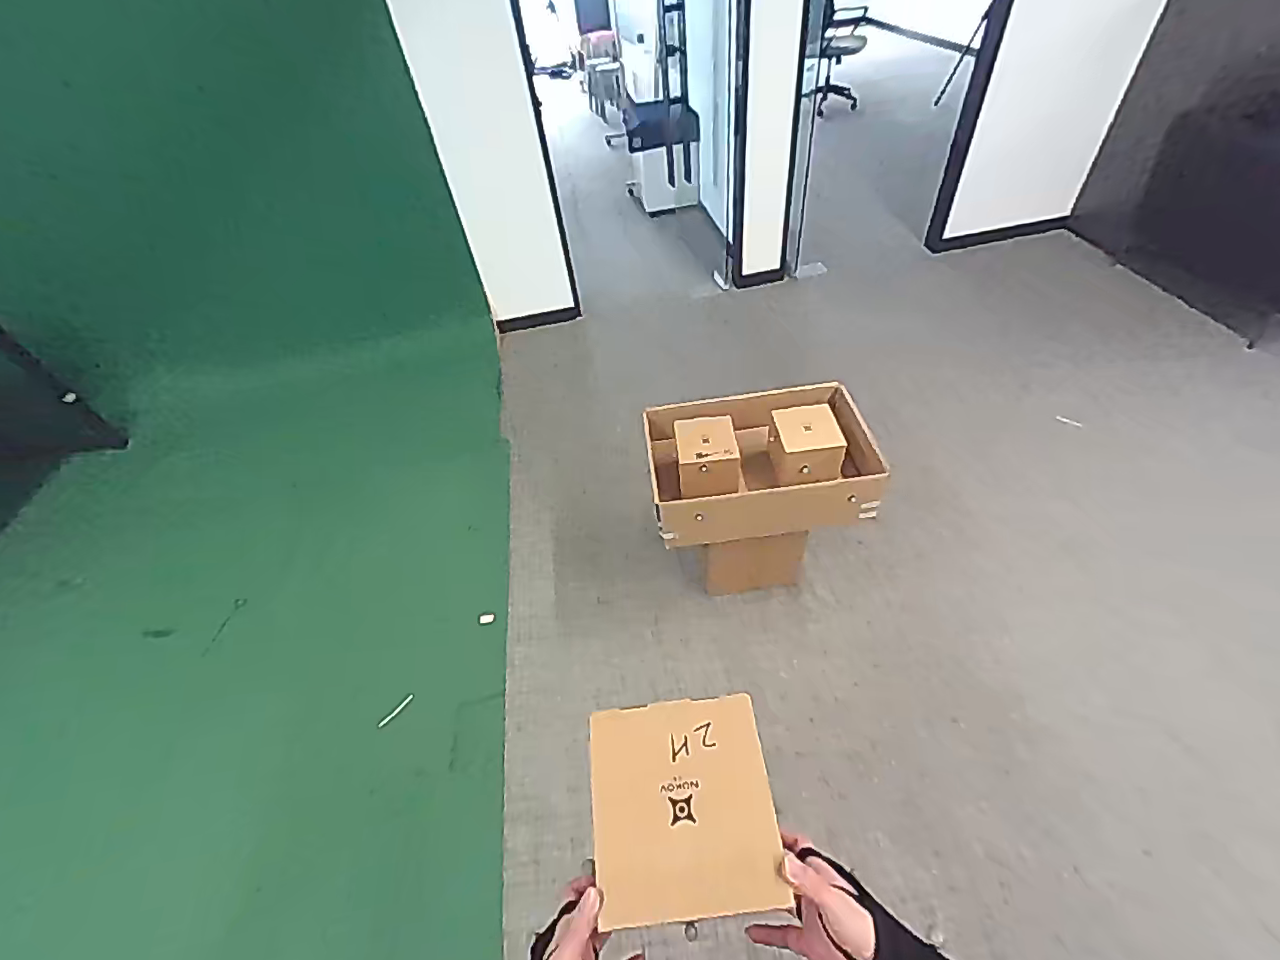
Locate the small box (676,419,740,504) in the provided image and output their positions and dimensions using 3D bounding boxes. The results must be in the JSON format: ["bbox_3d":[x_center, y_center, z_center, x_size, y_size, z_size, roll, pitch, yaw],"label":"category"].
[{"bbox_3d":[0.192,-0.052,1.557,0.168,0.176,0.179,-6,47,4],"label":"small box"}]

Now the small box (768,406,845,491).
[{"bbox_3d":[0.470,-0.083,1.548,0.168,0.176,0.179,-7,47,2],"label":"small box"}]

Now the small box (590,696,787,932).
[{"bbox_3d":[0.042,0.344,0.558,0.168,0.176,0.179,-6,51,0],"label":"small box"}]
